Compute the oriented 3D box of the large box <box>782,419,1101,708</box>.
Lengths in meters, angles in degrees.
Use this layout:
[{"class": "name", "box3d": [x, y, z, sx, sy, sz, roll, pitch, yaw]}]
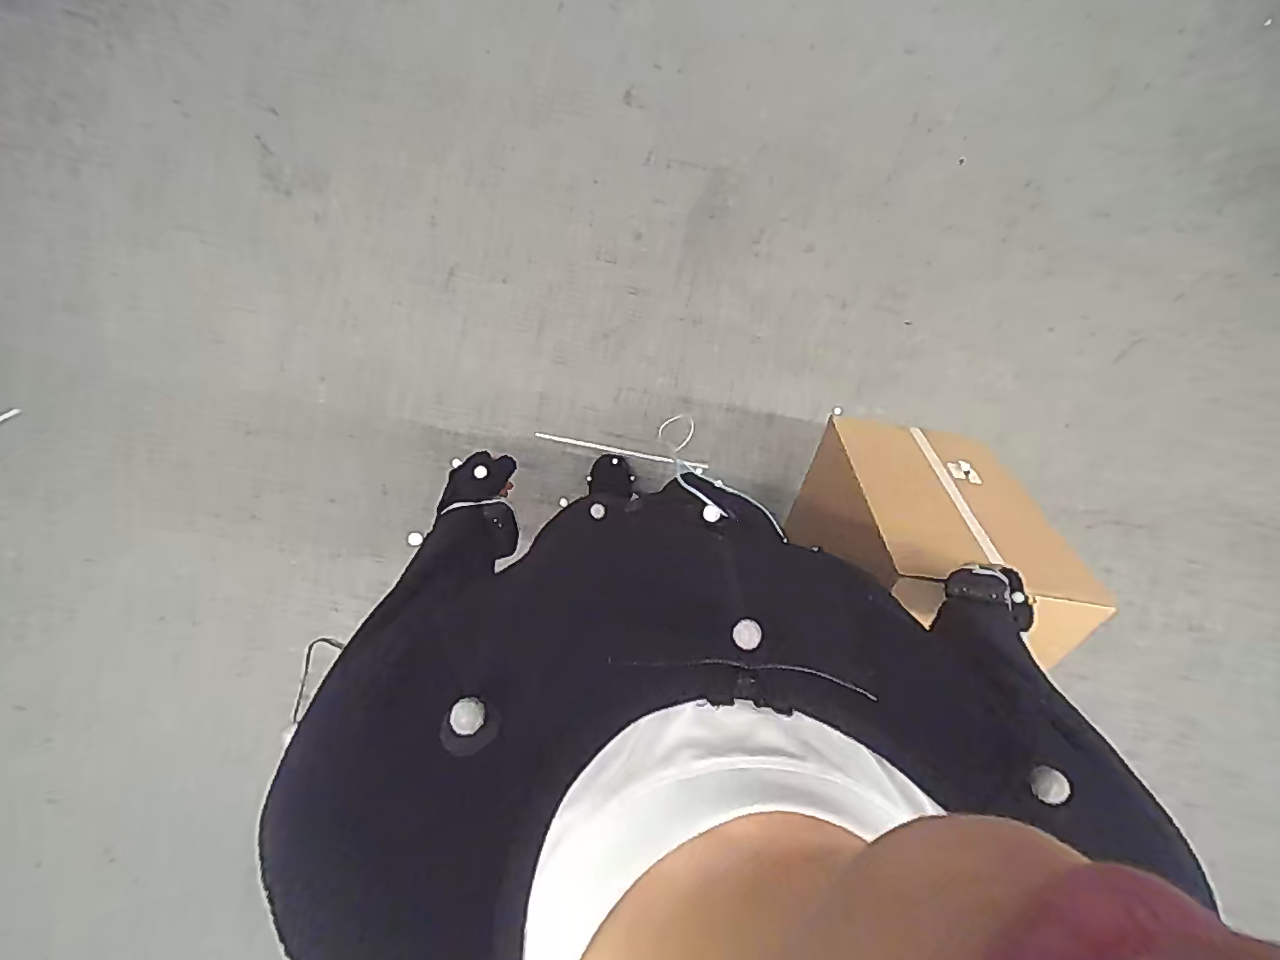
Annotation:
[{"class": "large box", "box3d": [0.477, 0.142, 0.982, 0.320, 0.408, 0.320, 9, 129, -4]}]
